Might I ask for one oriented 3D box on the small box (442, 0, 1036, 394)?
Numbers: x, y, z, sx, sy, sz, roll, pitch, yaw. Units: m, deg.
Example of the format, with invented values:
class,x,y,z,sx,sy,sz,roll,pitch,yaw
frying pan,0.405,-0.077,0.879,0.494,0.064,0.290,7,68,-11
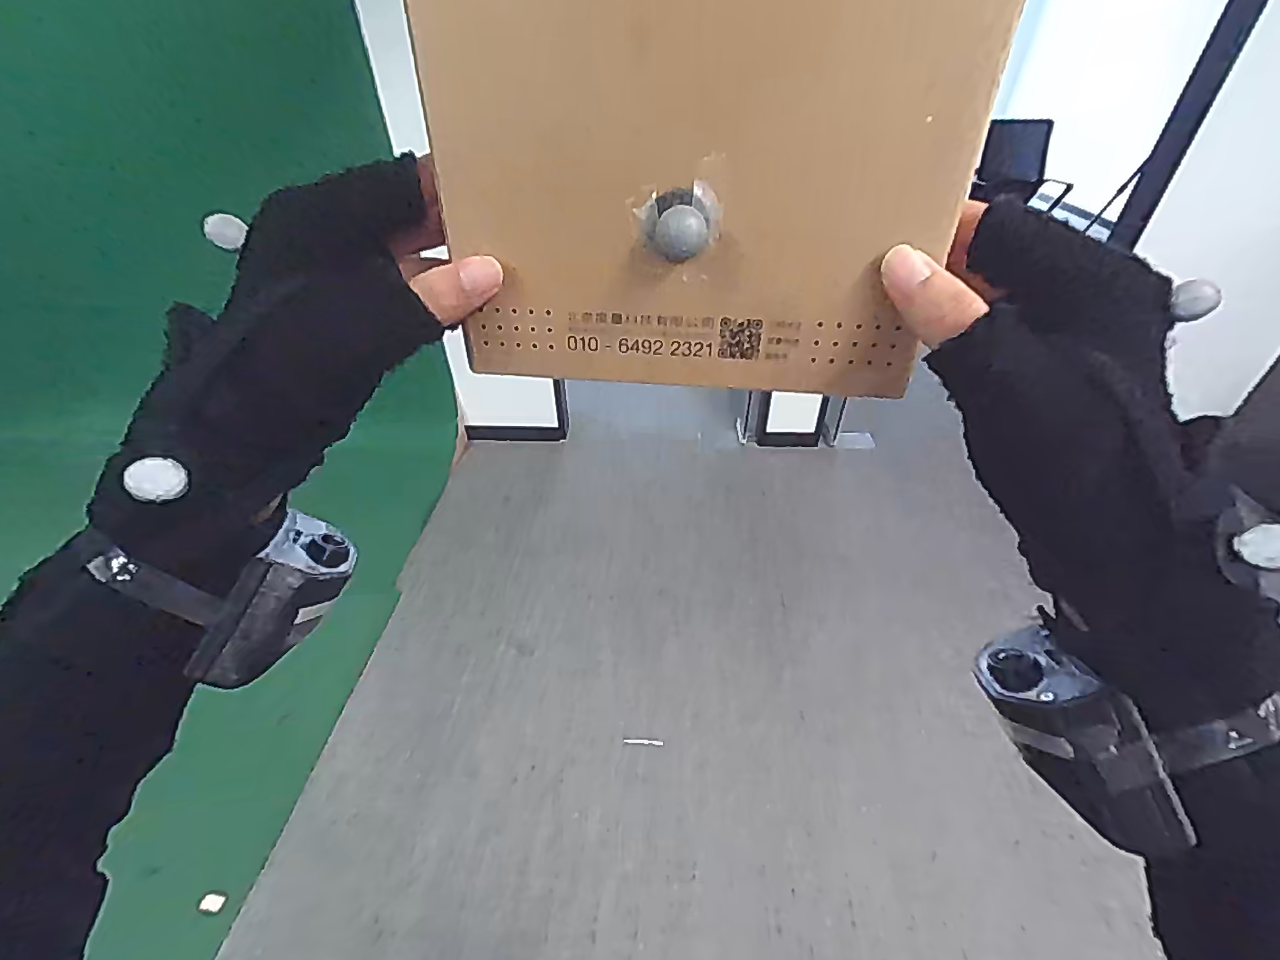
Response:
class,x,y,z,sx,sy,sz,roll,pitch,yaw
small box,0.029,-0.152,0.226,0.168,0.176,0.179,4,35,7
